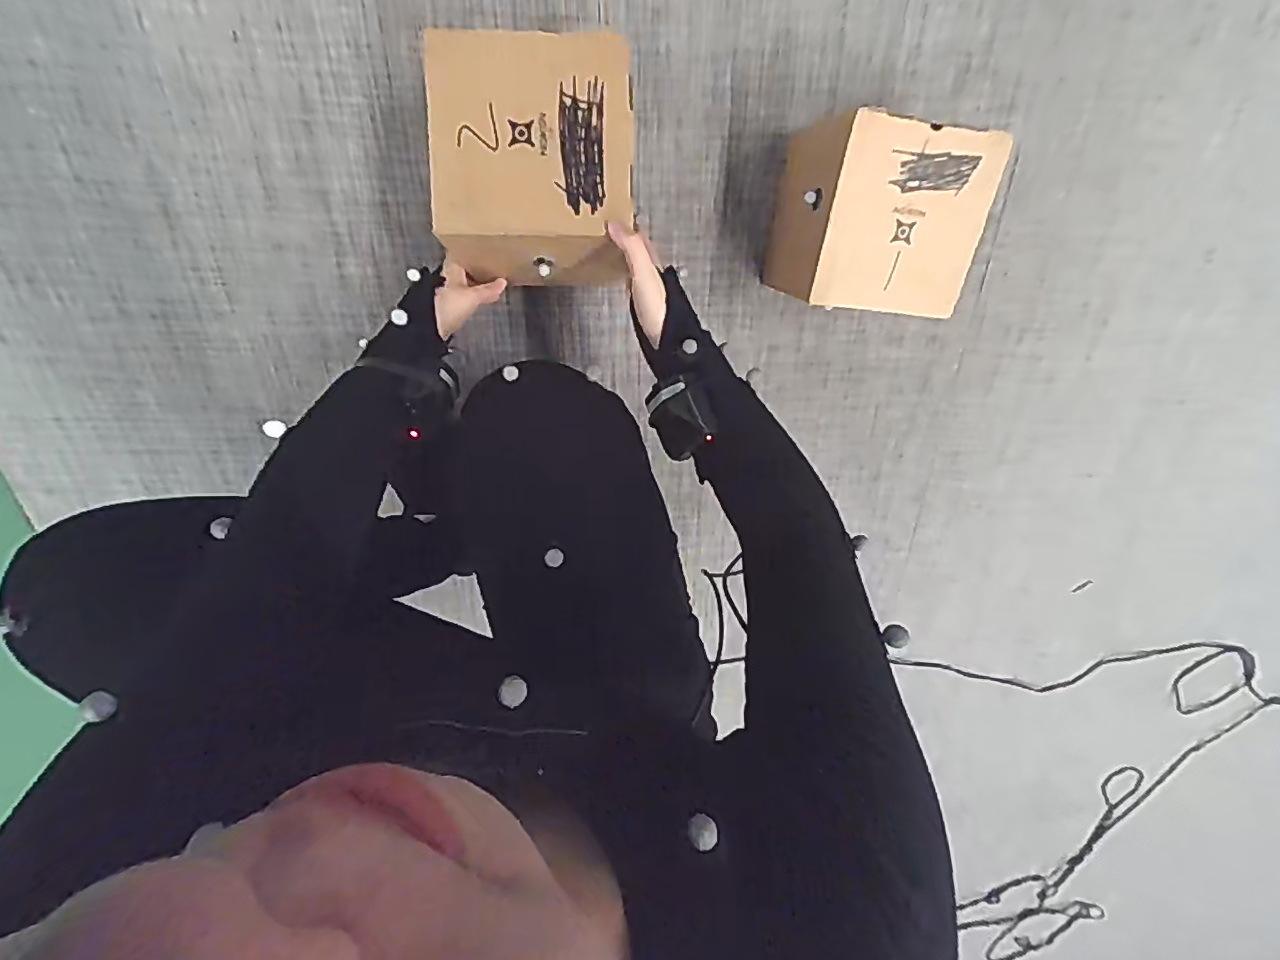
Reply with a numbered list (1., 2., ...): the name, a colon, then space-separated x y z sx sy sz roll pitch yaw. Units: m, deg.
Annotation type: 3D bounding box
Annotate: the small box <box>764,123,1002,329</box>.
1. small box: 0.256 -0.284 0.621 0.168 0.176 0.179 3 116 -8
